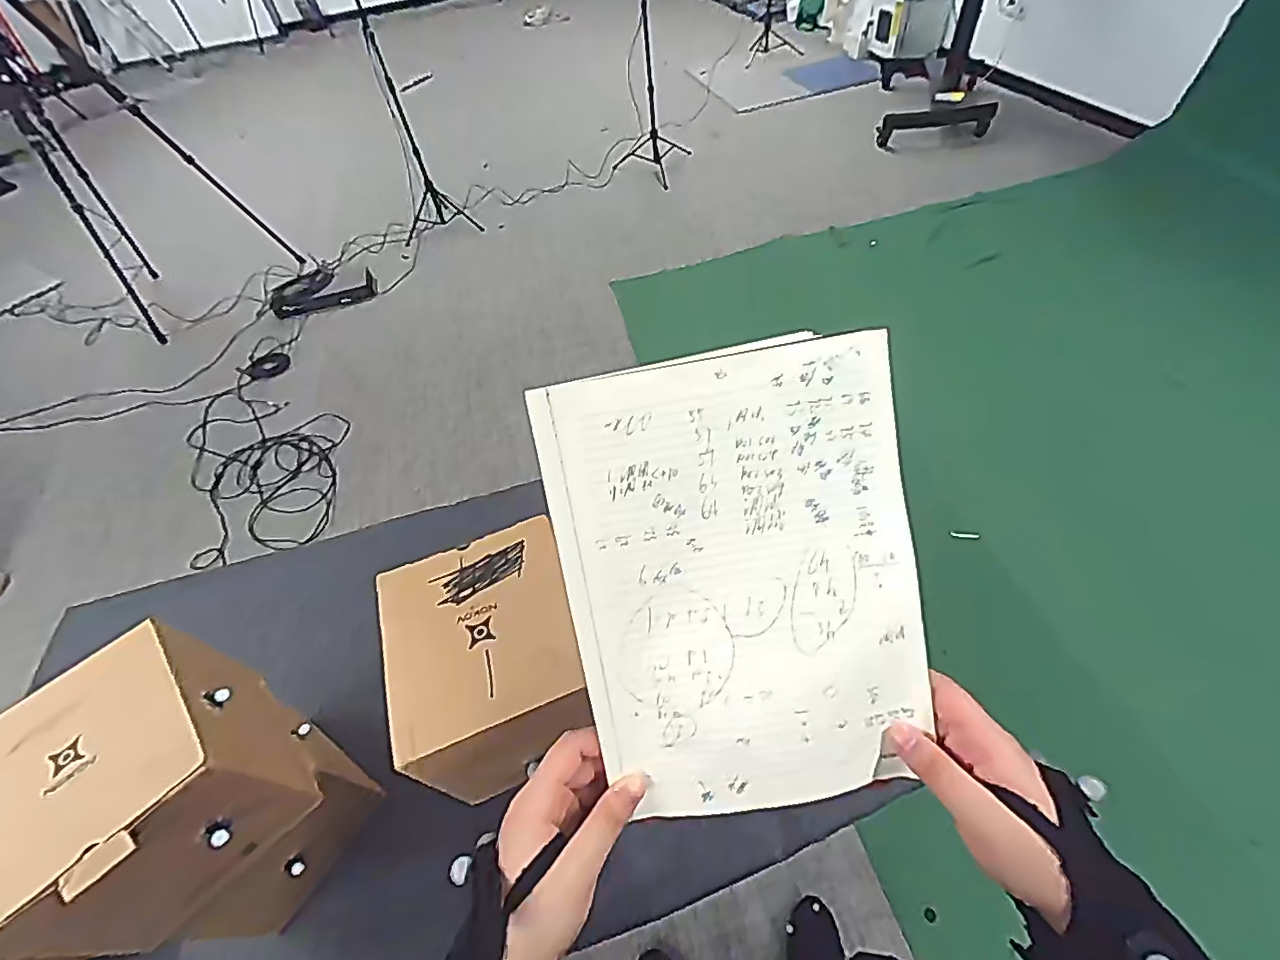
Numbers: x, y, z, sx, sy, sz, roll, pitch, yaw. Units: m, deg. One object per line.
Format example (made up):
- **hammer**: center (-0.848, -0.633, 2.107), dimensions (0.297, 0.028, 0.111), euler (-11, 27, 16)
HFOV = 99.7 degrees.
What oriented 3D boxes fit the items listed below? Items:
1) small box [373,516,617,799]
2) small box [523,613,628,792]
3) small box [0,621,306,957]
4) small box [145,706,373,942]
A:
- **small box**: center (-0.131, 0.170, 0.514), dimensions (0.168, 0.176, 0.179), euler (-20, 52, -8)
- **small box**: center (-0.121, 0.261, 0.652), dimensions (0.179, 0.176, 0.168), euler (6, 53, 13)
- **small box**: center (-0.441, 0.266, 0.478), dimensions (0.168, 0.176, 0.179), euler (-40, 57, -24)
- **small box**: center (-0.445, 0.366, 0.608), dimensions (0.179, 0.176, 0.168), euler (25, 58, 24)
